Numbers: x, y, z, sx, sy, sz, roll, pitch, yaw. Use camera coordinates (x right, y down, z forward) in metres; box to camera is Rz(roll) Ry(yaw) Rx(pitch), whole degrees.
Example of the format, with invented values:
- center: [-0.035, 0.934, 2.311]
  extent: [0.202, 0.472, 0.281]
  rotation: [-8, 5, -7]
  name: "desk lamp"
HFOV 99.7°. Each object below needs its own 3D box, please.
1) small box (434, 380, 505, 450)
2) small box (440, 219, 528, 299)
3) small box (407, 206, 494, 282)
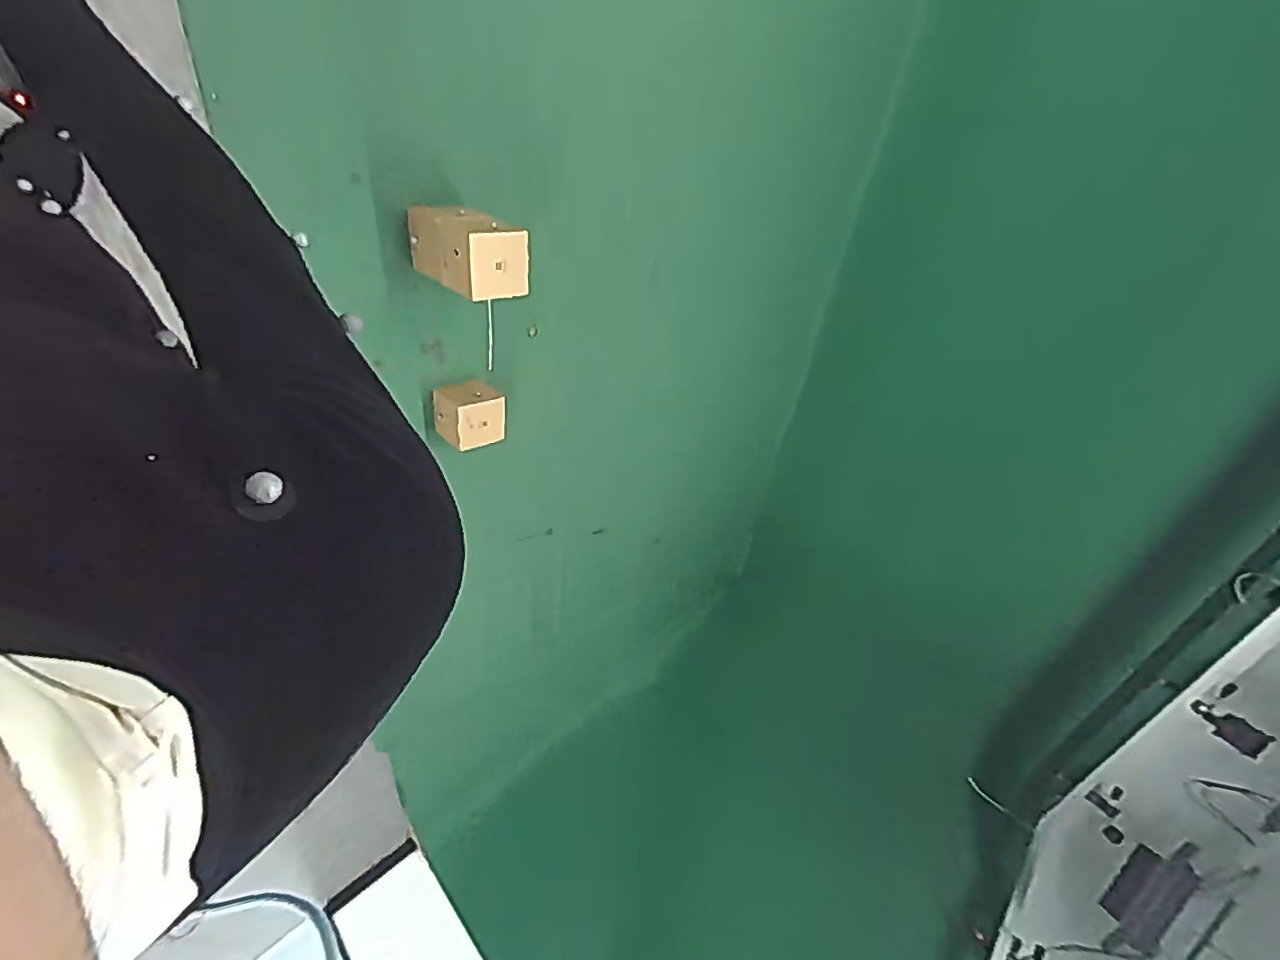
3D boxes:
- center: [-0.585, -0.230, 1.854]
  extent: [0.179, 0.176, 0.168]
  rotation: [-22, 134, -40]
  name: "small box"
- center: [-0.421, -0.596, 1.450]
  extent: [0.179, 0.176, 0.168]
  rotation: [-26, 136, -39]
  name: "small box"
- center: [-0.533, -0.674, 1.536]
  extent: [0.179, 0.176, 0.168]
  rotation: [-23, 134, -38]
  name: "small box"
